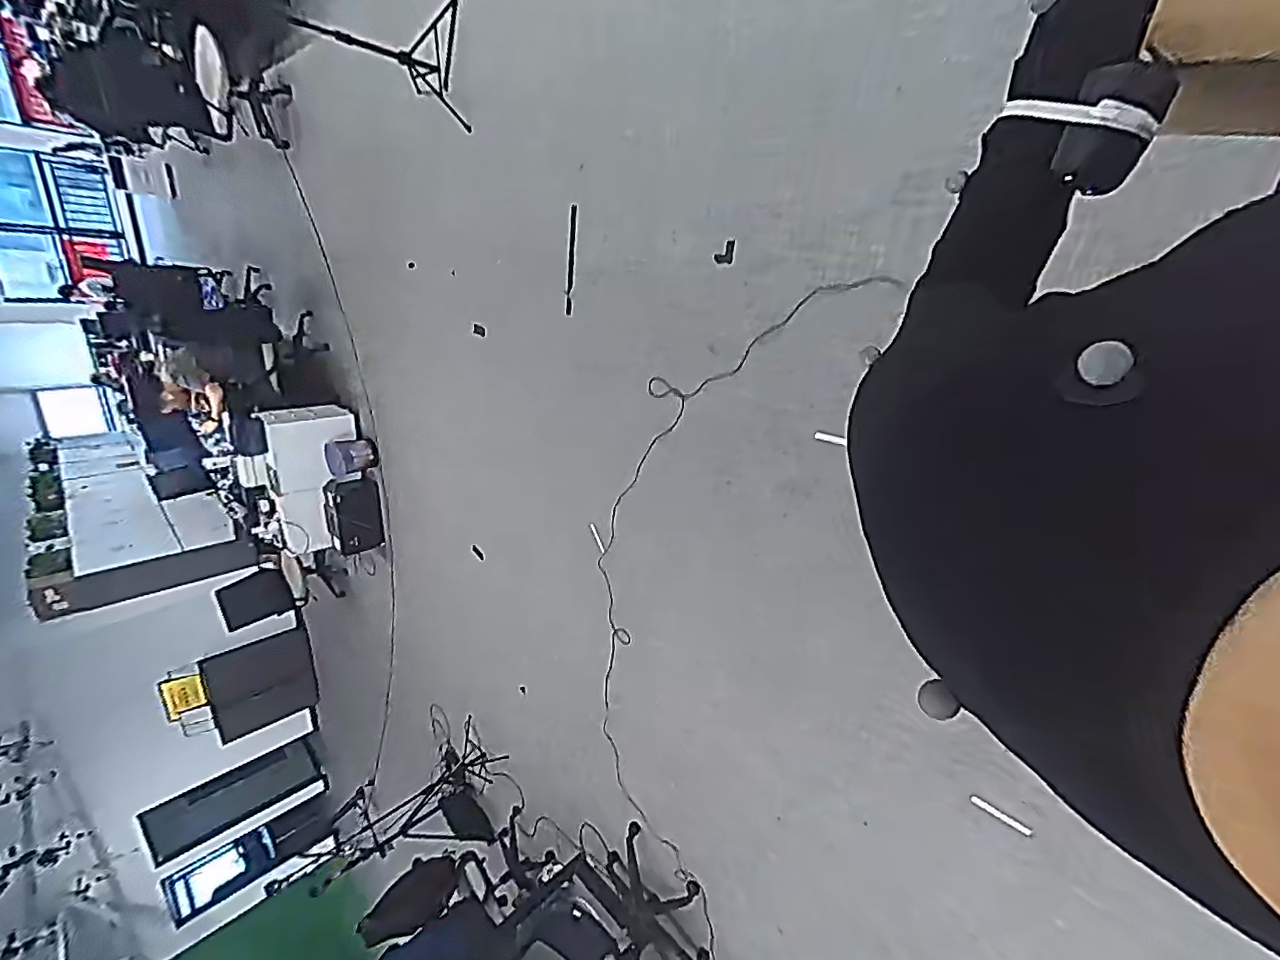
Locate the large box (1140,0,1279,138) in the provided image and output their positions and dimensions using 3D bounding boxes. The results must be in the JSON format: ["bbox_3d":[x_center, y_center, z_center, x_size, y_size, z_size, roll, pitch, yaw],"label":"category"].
[{"bbox_3d":[0.575,-0.380,0.275,0.408,0.320,0.320,24,124,33],"label":"large box"}]
